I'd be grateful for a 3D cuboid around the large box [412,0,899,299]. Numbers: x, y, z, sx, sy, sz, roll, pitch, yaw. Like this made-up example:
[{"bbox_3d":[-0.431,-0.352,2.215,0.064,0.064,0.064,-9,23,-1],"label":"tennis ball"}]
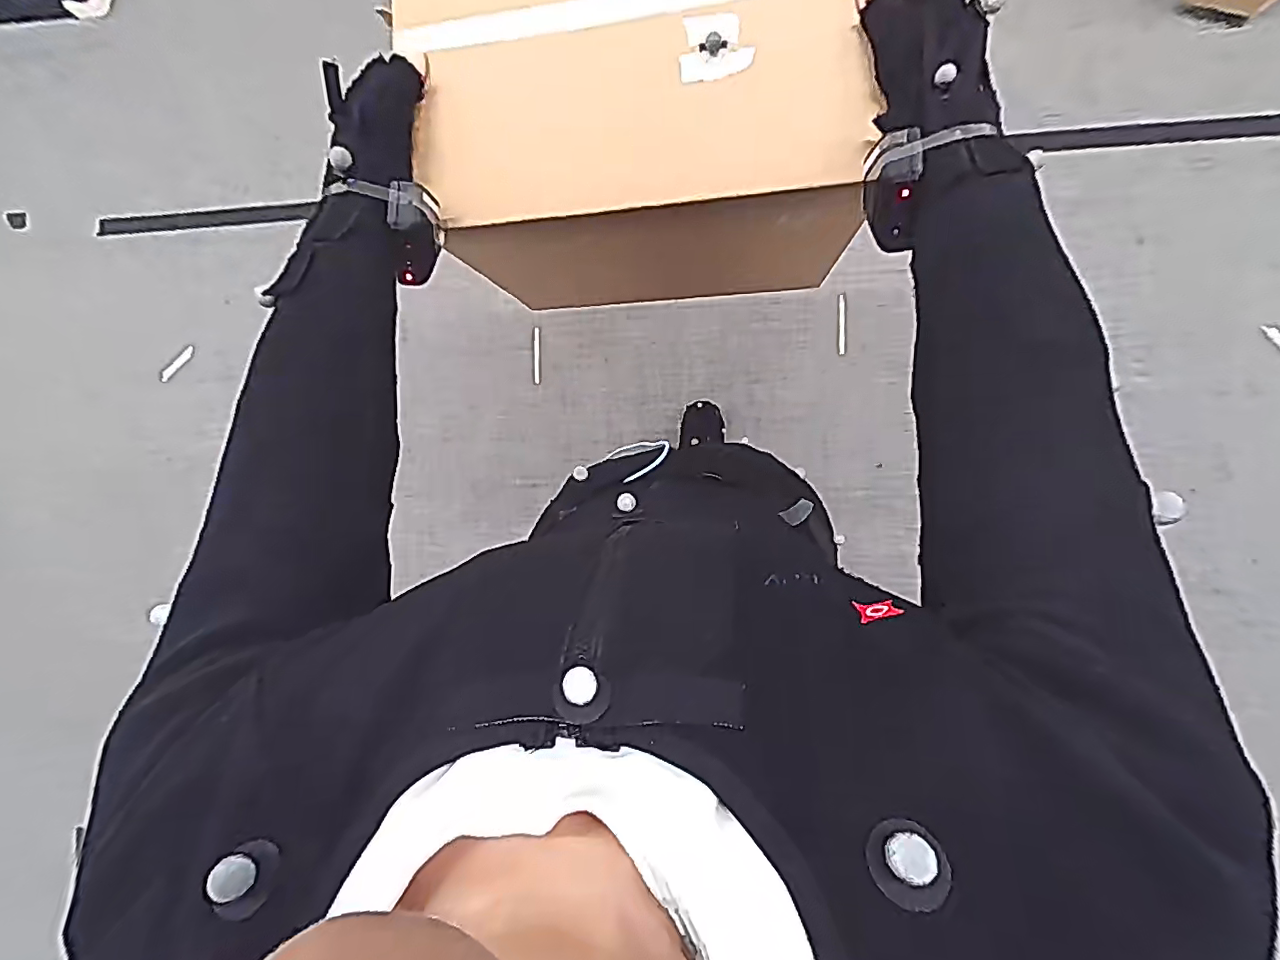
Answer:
[{"bbox_3d":[0.017,-0.408,0.592,0.408,0.320,0.320,-3,95,7],"label":"large box"}]
